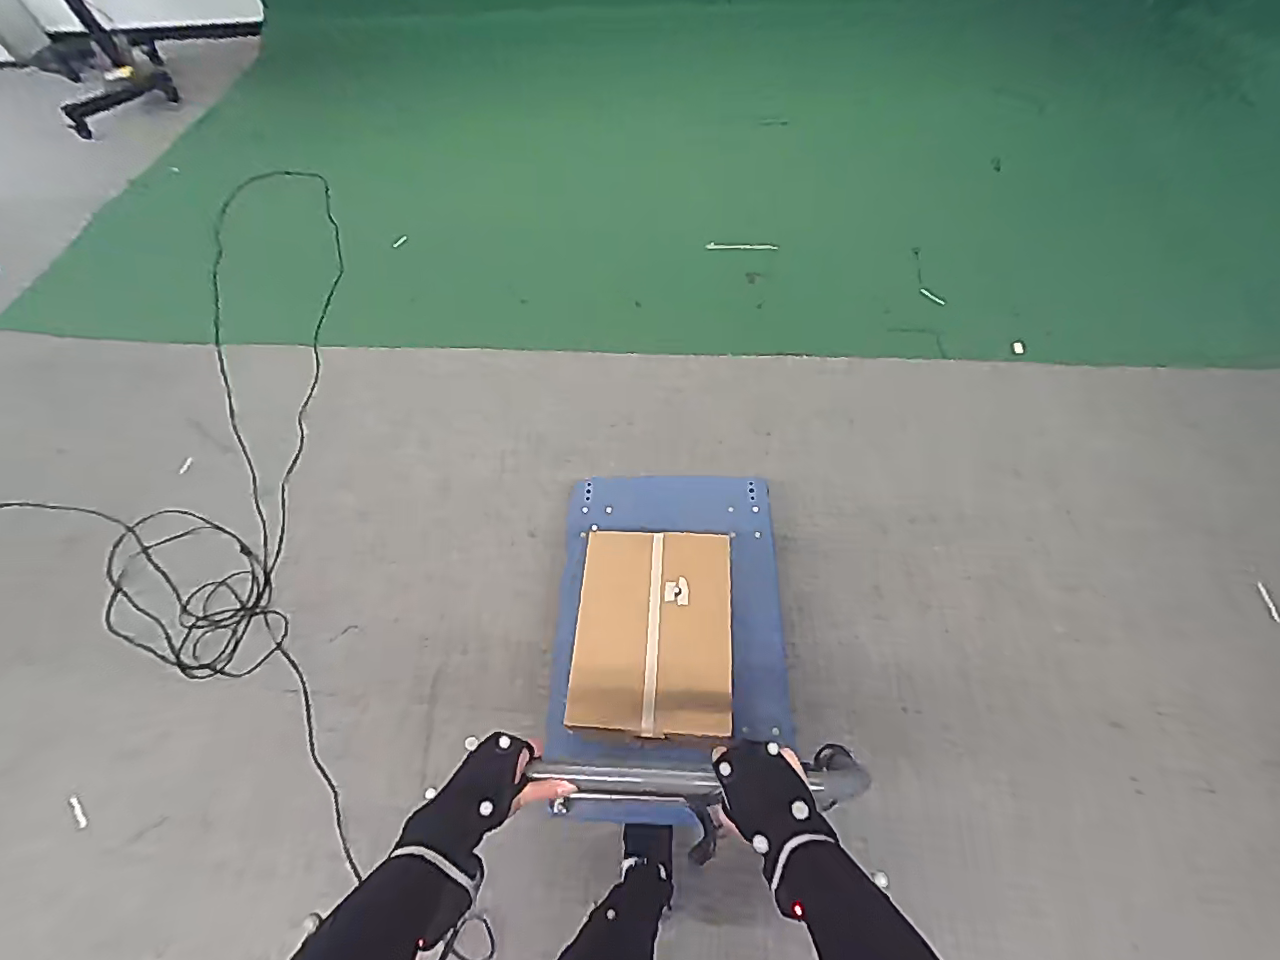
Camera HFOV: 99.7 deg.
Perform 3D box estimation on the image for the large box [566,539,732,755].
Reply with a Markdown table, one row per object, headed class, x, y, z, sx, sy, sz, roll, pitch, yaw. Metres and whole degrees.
| class | x | y | z | sx | sy | sz | roll | pitch | yaw |
| --- | --- | --- | --- | --- | --- | --- | --- | --- | --- |
| large box | 0.036 | 0.382 | 1.223 | 0.320 | 0.320 | 0.408 | 2 | 58 | 5 |
